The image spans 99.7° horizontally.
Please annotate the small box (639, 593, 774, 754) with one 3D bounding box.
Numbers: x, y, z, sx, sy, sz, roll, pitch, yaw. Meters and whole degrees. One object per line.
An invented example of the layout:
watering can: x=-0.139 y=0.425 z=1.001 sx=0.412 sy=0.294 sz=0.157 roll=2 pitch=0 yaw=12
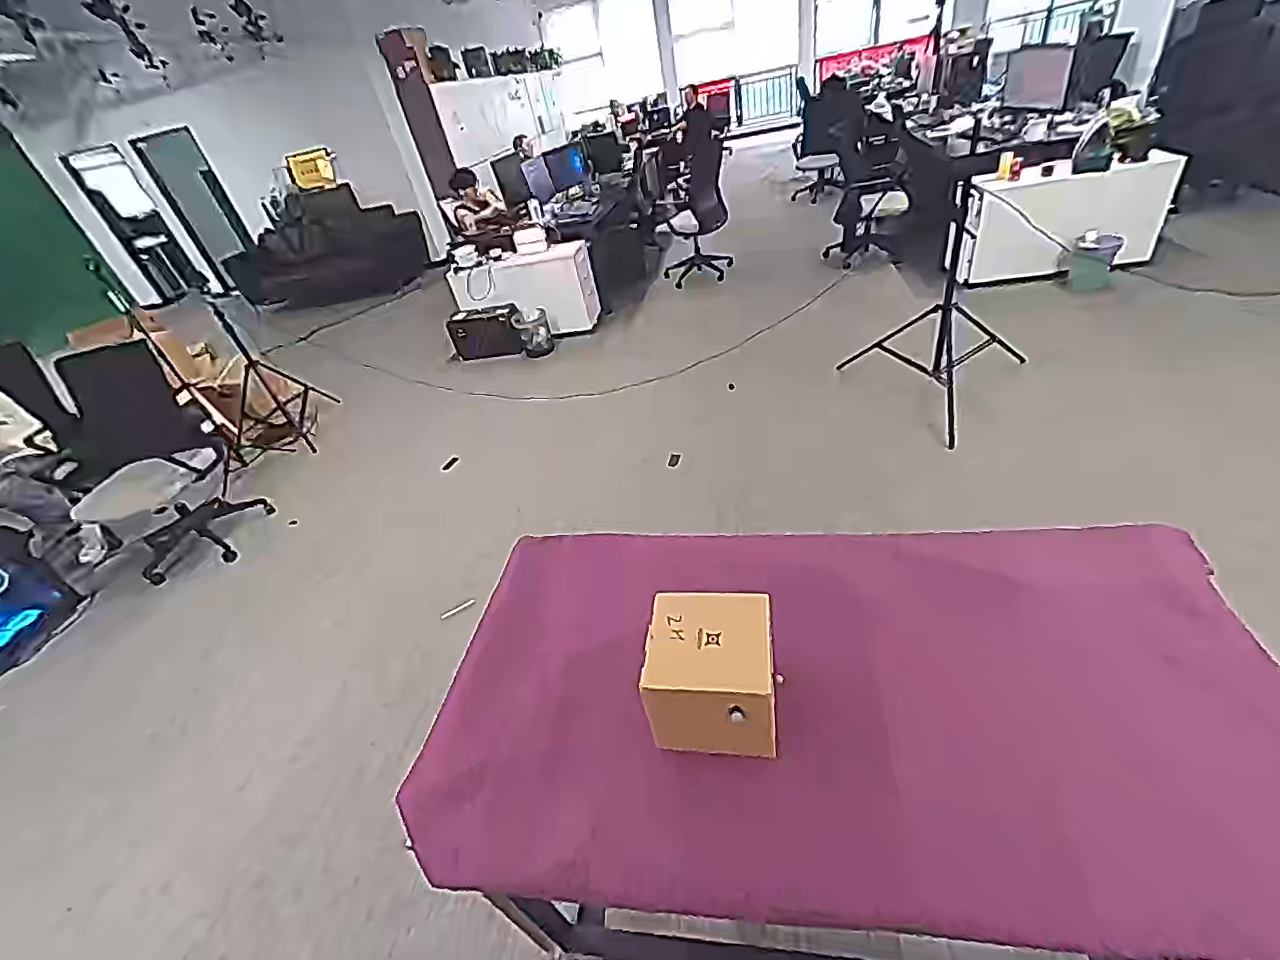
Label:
small box: x=0.110 y=0.288 z=0.810 sx=0.179 sy=0.176 sz=0.168 roll=-3 pitch=37 yaw=14
